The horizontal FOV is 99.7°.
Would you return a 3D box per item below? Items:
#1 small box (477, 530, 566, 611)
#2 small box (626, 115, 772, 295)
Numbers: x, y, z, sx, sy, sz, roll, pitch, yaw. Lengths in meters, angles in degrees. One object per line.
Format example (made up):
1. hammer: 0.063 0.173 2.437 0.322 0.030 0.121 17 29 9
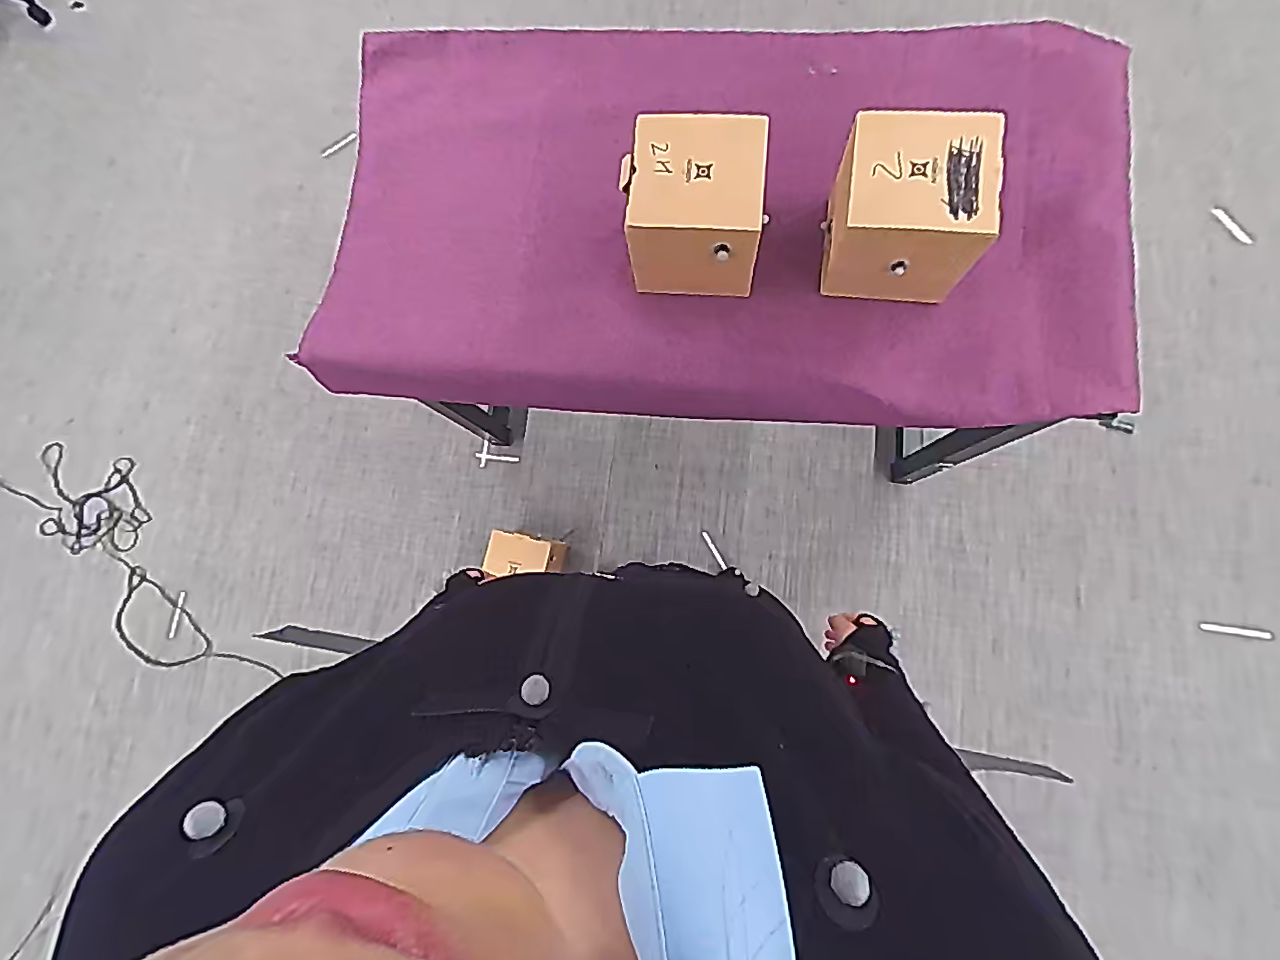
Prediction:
1. small box: -0.312 0.243 1.462 0.168 0.176 0.179 12 82 8
2. small box: 0.084 -0.381 0.774 0.179 0.176 0.168 5 80 7
